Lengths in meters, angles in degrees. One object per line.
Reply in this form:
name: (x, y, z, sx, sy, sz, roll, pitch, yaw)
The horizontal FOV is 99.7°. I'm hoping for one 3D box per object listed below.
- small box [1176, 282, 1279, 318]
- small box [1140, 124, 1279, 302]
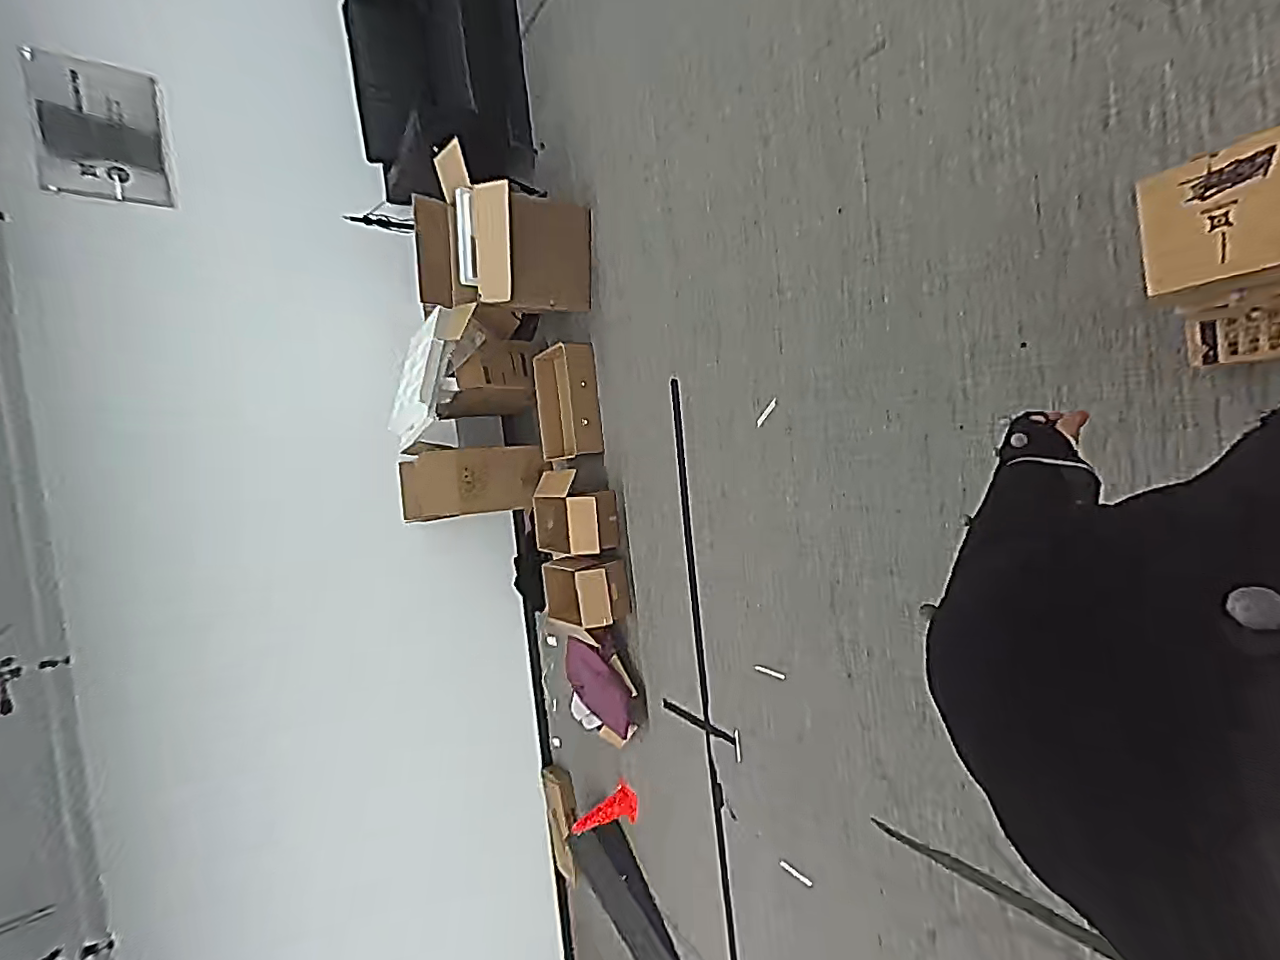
small box: (0.997, -0.374, 0.875, 0.168, 0.176, 0.179, -3, 94, 55)
small box: (0.861, -0.374, 0.783, 0.168, 0.176, 0.179, -5, 92, 55)
